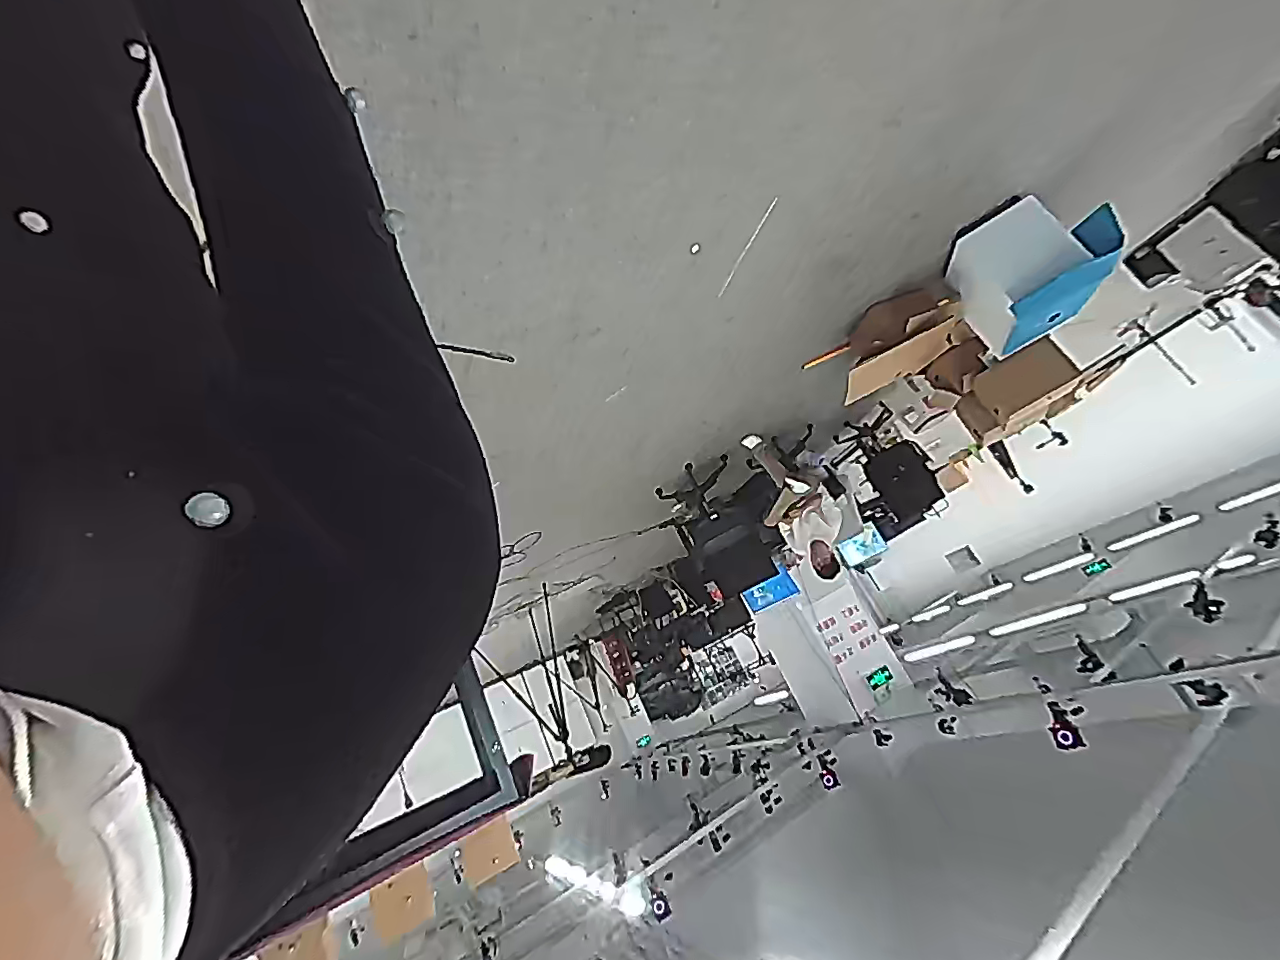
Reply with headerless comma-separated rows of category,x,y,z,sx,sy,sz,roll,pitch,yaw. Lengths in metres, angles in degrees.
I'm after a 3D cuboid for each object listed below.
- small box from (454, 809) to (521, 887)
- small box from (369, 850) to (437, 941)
small box,-0.548,1.300,1.930,0.179,0.176,0.168,-15,159,-28
small box,-0.786,1.365,1.791,0.168,0.176,0.179,-16,161,-29
